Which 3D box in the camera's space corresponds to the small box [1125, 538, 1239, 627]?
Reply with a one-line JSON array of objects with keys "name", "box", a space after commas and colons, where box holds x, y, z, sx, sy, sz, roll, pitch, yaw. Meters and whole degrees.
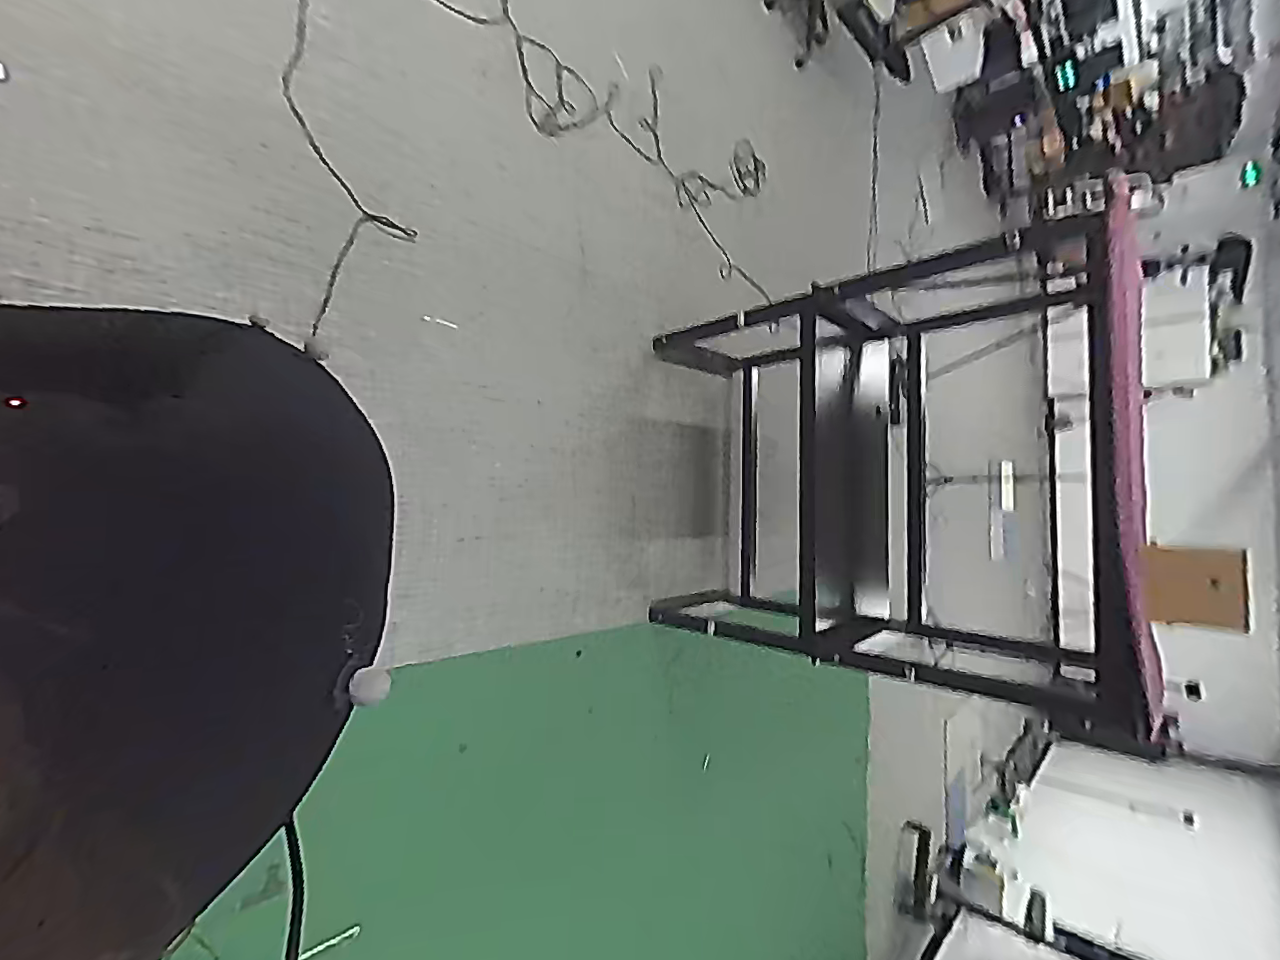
[{"name": "small box", "box": [1.218, 0.223, 1.226, 0.168, 0.176, 0.179, 5, 86, -47]}]
